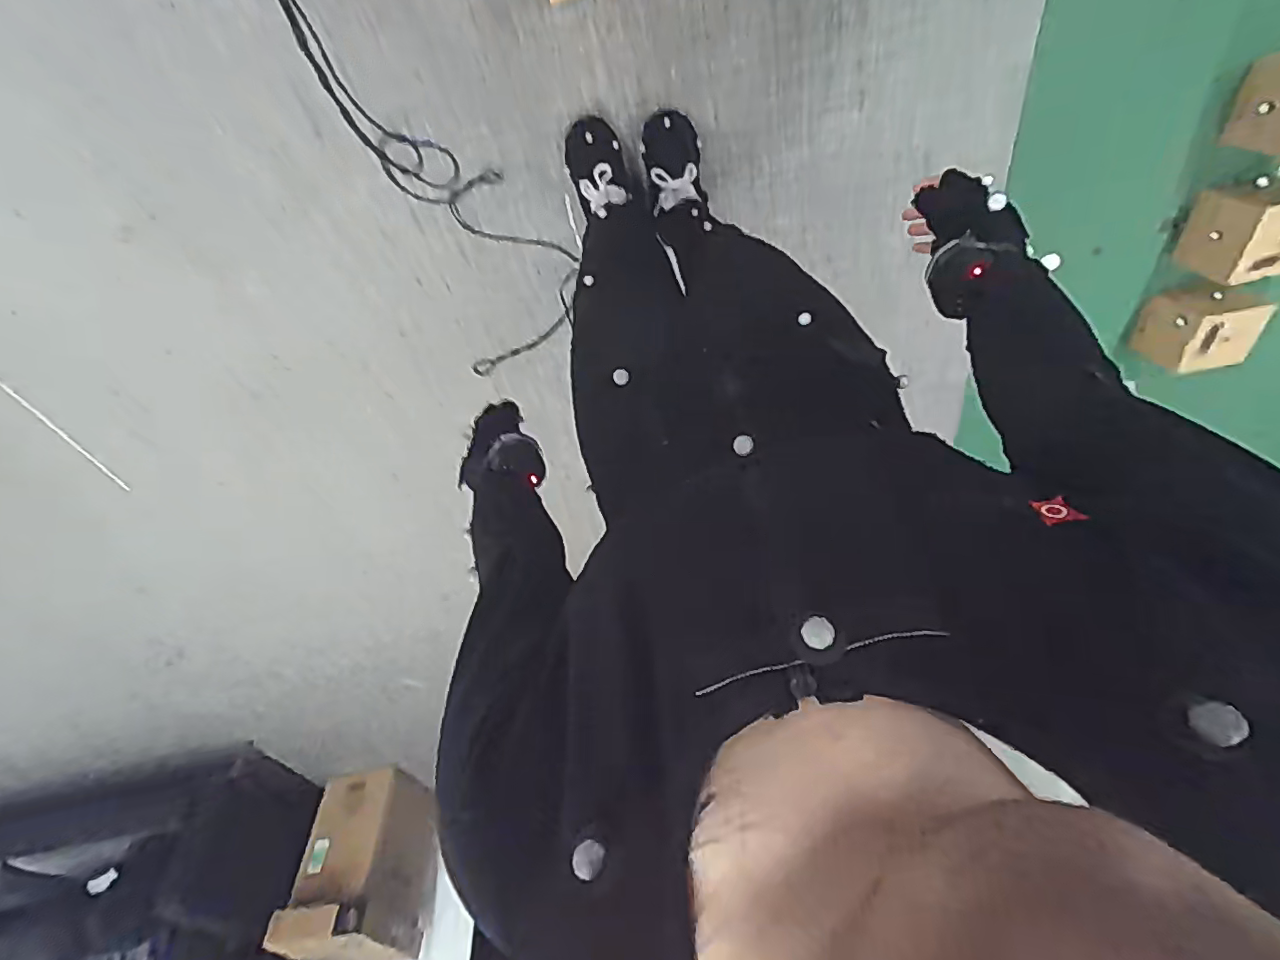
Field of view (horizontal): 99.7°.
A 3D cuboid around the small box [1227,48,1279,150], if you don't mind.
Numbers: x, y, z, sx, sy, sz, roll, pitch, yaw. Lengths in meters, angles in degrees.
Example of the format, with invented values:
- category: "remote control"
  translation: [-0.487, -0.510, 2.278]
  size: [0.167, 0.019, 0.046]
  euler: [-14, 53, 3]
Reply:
- category: "small box"
  translation: [1.381, -0.788, 1.097]
  size: [0.179, 0.176, 0.168]
  euler: [-12, 132, 6]
